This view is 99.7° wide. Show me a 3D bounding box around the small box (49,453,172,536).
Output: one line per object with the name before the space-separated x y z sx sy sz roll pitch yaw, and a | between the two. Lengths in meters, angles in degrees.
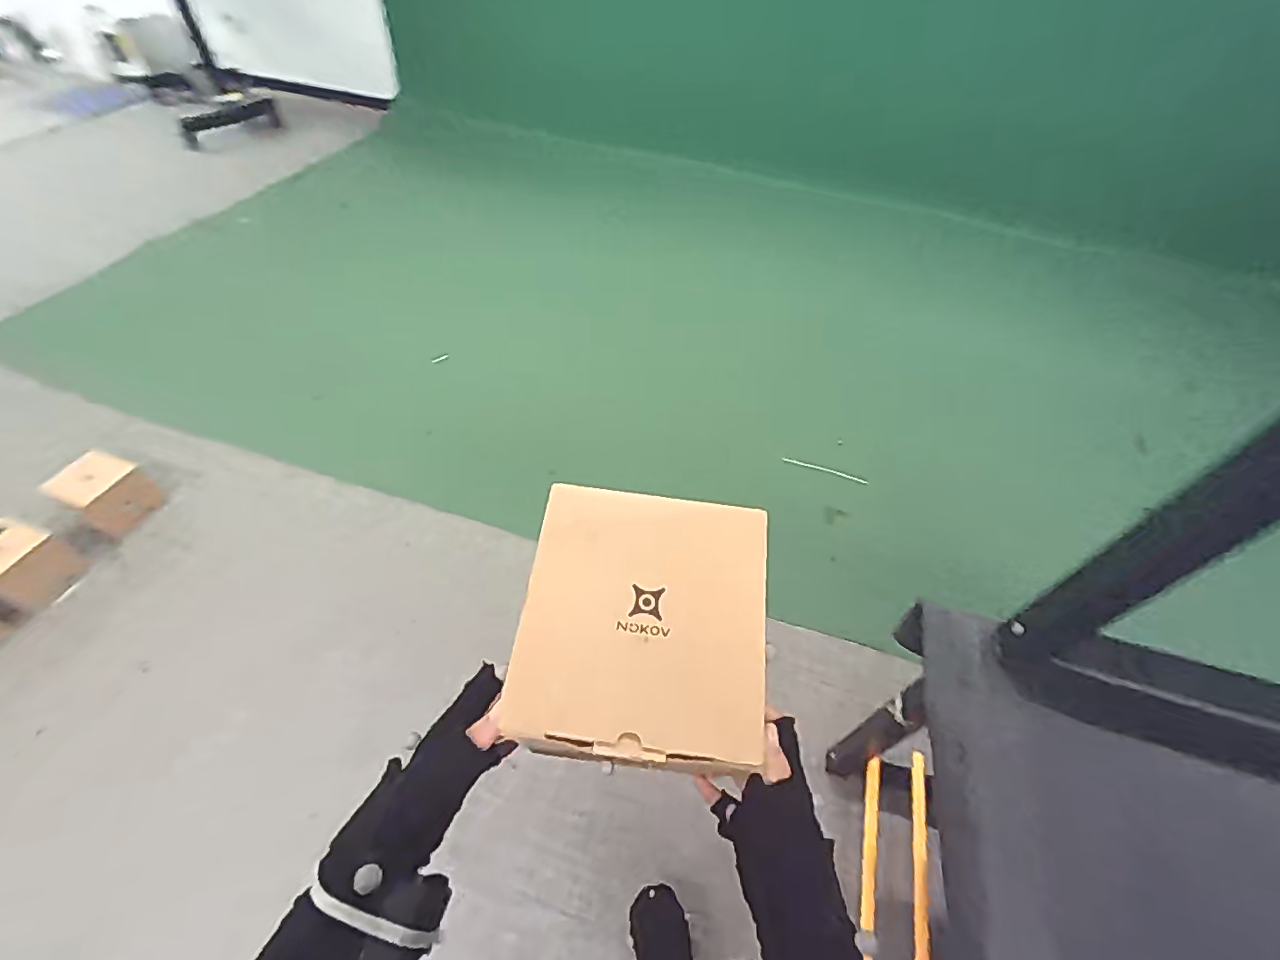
small box | -1.607 0.050 1.657 0.179 0.176 0.168 17 50 9
